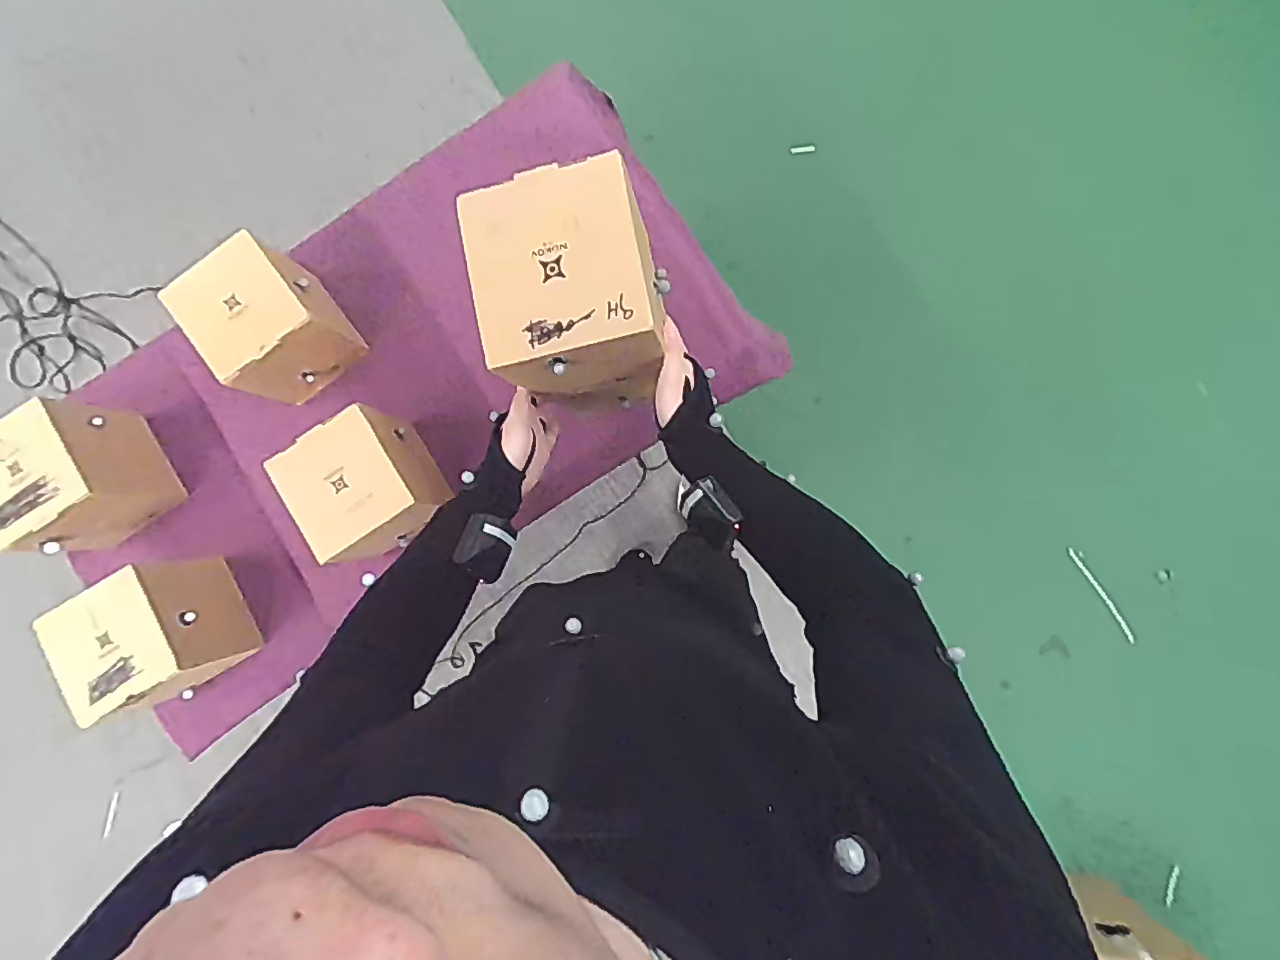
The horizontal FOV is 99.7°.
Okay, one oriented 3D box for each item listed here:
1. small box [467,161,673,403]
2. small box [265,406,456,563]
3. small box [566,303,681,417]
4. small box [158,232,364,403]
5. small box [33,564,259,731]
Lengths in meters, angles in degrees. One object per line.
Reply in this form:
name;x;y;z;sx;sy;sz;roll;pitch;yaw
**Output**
small box;-0.063;-0.195;0.584;0.168;0.176;0.179;-11;87;8
small box;-0.426;0.012;0.851;0.168;0.176;0.179;-33;86;0
small box;-0.043;-0.197;0.747;0.168;0.176;0.179;-13;87;9
small box;-0.596;-0.248;0.874;0.168;0.176;0.179;-38;87;-1
small box;-0.750;0.246;0.844;0.168;0.176;0.179;-31;84;-1
